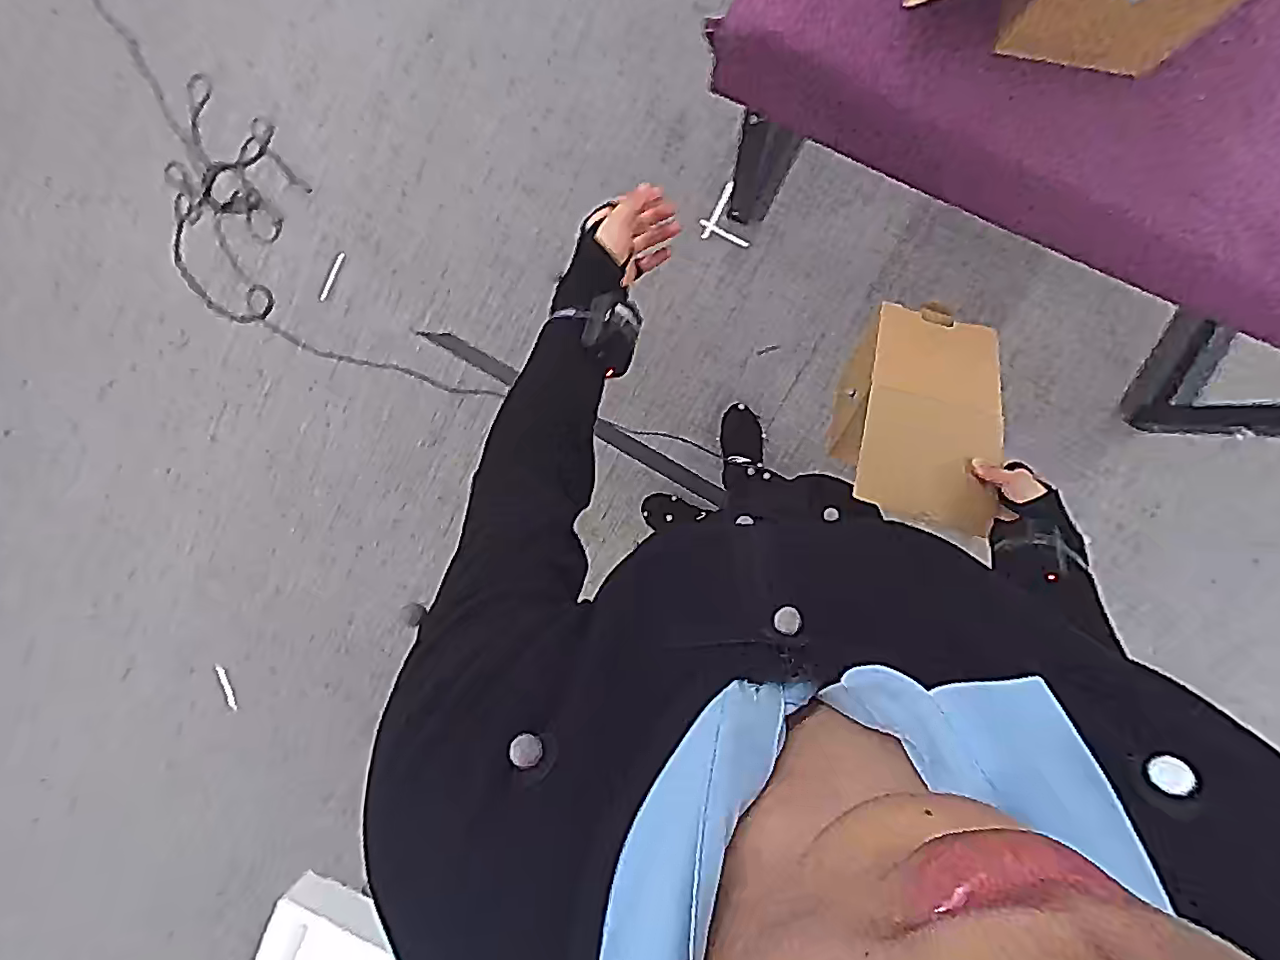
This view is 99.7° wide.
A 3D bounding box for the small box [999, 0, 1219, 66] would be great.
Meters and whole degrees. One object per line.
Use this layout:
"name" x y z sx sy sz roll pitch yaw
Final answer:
"small box" 0.511 -0.563 0.545 0.179 0.176 0.168 13 99 3
